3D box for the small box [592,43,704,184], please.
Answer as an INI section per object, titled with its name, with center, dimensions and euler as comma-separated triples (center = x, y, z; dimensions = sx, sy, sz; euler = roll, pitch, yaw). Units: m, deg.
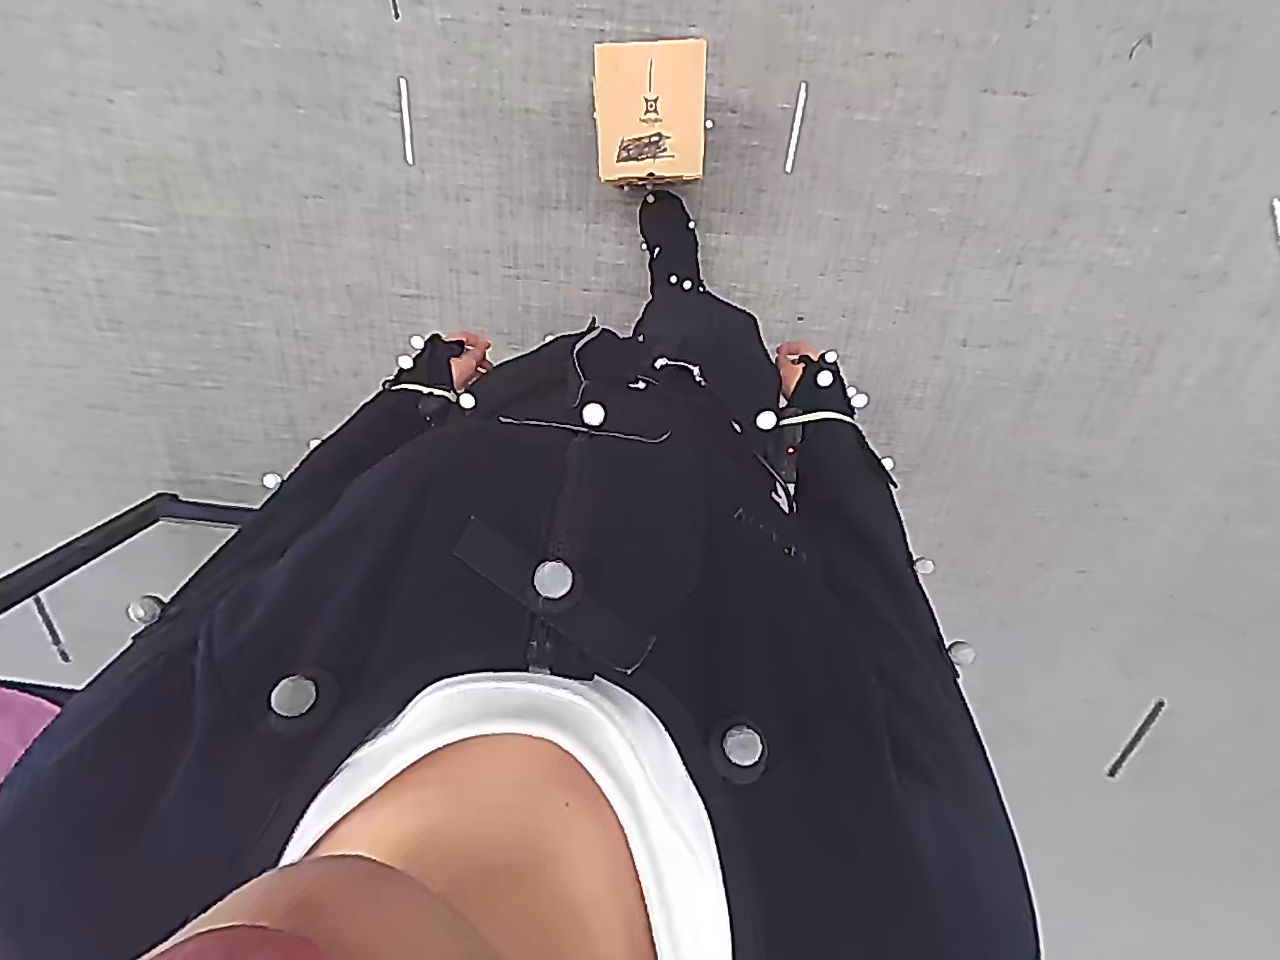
[small box]
center = 0.017, -0.588, 0.889
dimensions = 0.168, 0.176, 0.179
euler = 1, 116, 4
